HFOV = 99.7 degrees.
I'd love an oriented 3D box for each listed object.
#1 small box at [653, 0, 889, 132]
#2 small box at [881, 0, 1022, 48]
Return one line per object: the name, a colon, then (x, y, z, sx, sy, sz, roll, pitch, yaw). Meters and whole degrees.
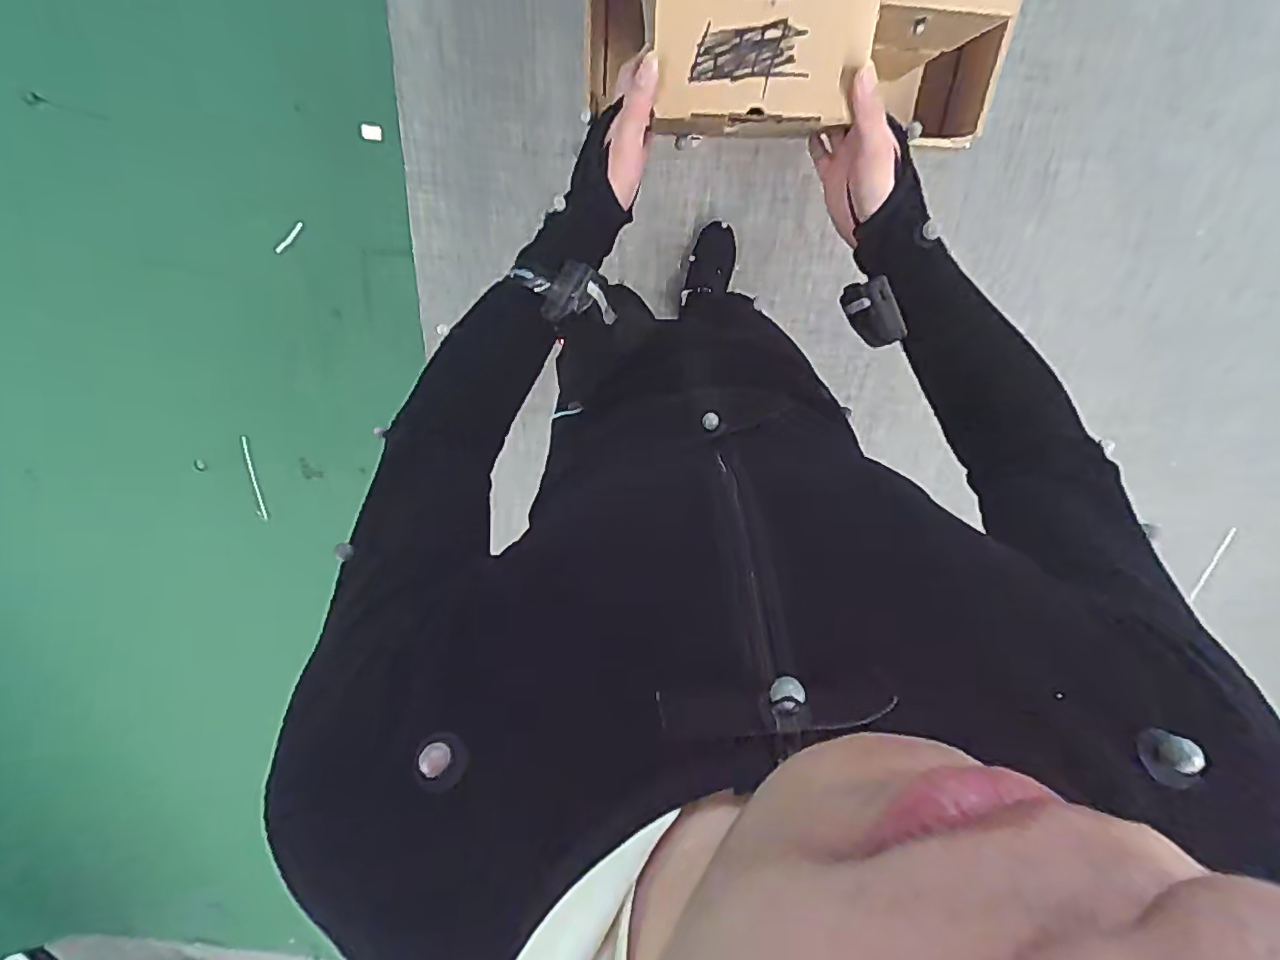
small box: (0.098, -0.400, 0.447, 0.168, 0.176, 0.179, 2, 117, -2)
small box: (0.355, -0.646, 0.648, 0.179, 0.176, 0.168, 6, 118, -1)
